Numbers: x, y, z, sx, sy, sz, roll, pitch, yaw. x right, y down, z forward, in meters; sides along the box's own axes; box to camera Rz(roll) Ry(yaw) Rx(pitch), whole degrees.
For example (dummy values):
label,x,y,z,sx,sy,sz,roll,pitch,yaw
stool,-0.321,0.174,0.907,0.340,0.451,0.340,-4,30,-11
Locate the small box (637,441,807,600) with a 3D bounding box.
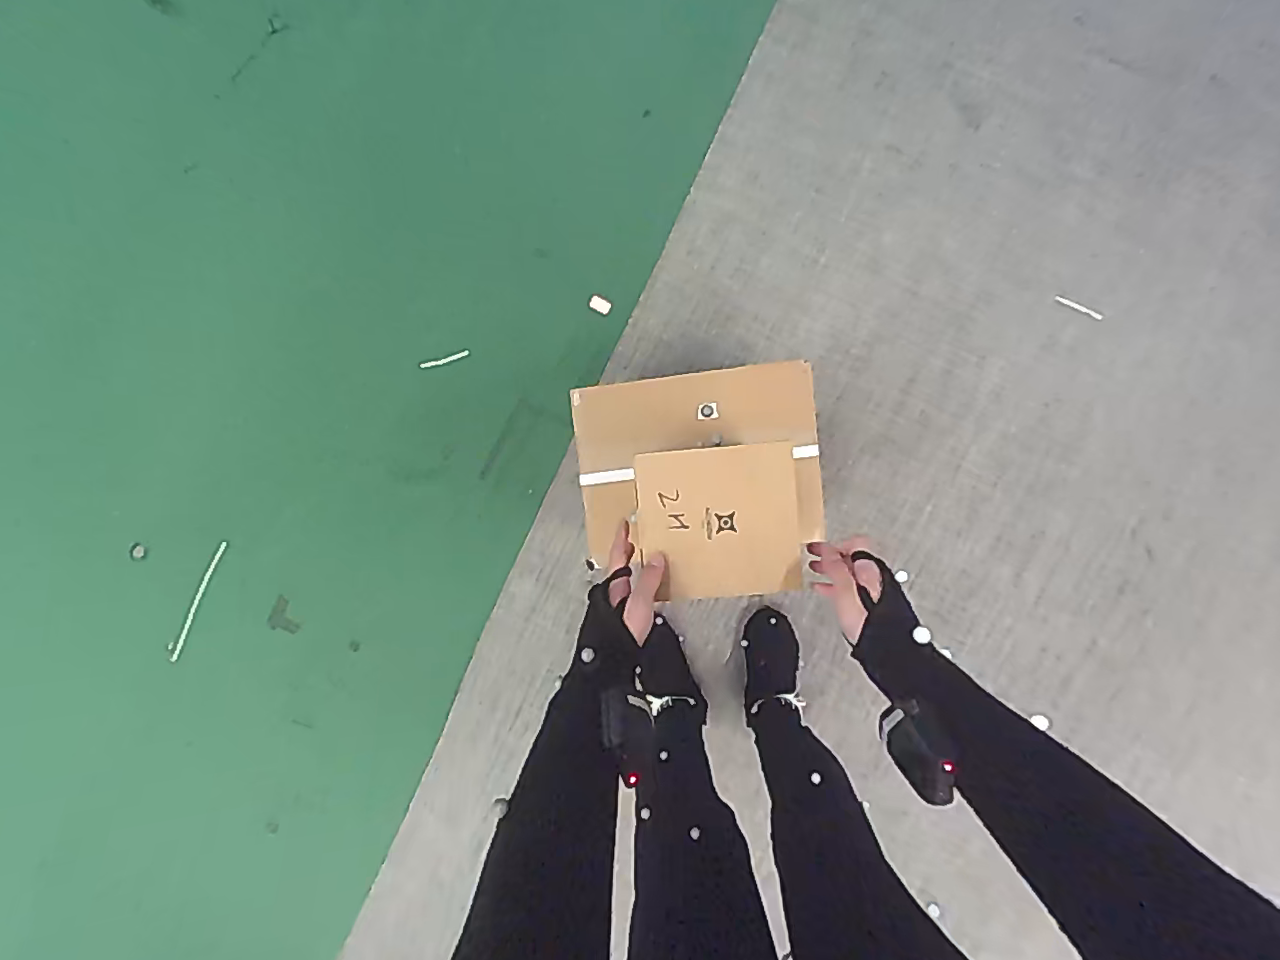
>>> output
label,x,y,z,sx,sy,sz,roll,pitch,yaw
small box,0.090,0.040,0.657,0.179,0.176,0.168,-5,92,3
